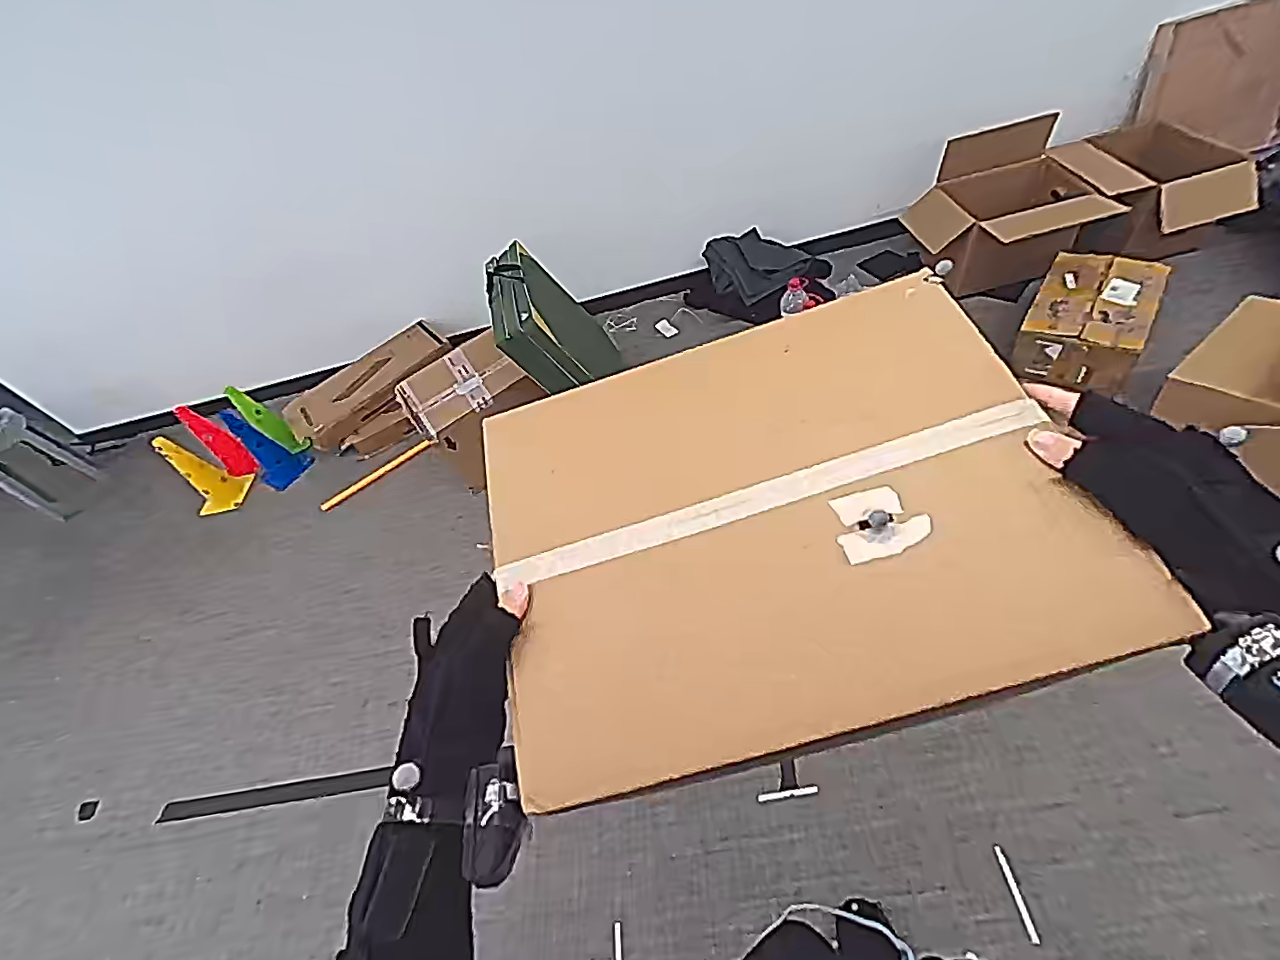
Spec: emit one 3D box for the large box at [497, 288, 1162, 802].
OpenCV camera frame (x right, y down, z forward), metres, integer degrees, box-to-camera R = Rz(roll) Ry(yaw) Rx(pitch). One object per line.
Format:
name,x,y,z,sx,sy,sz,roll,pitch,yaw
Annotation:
large box,0.121,0.089,0.535,0.408,0.320,0.320,-18,60,4
